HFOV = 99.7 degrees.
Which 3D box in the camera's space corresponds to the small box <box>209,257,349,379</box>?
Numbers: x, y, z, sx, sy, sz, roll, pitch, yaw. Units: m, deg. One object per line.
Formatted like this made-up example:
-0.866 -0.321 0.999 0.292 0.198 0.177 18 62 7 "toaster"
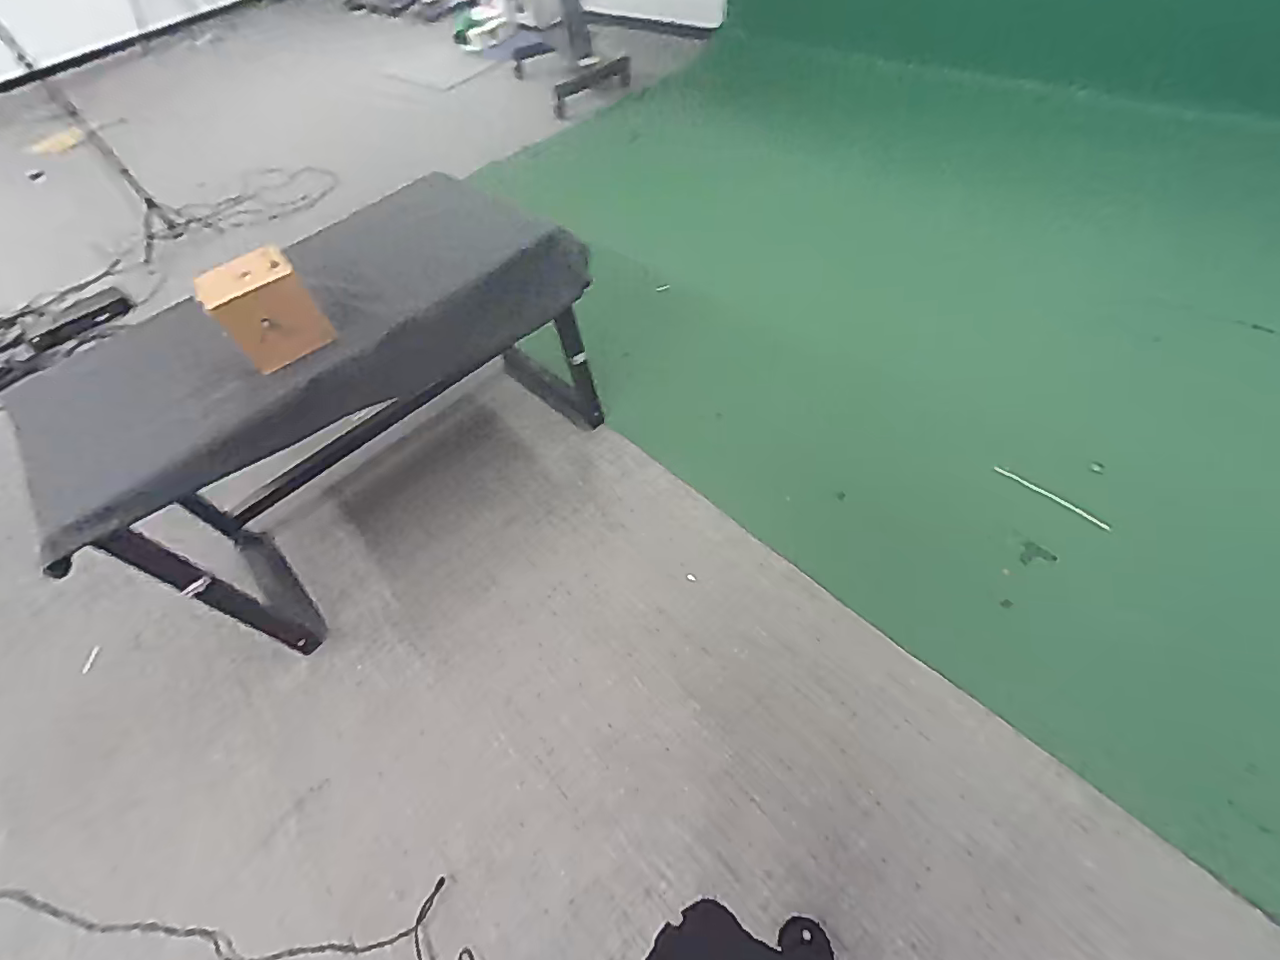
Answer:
-0.785 -0.352 1.188 0.179 0.176 0.168 -38 54 -18 "small box"
